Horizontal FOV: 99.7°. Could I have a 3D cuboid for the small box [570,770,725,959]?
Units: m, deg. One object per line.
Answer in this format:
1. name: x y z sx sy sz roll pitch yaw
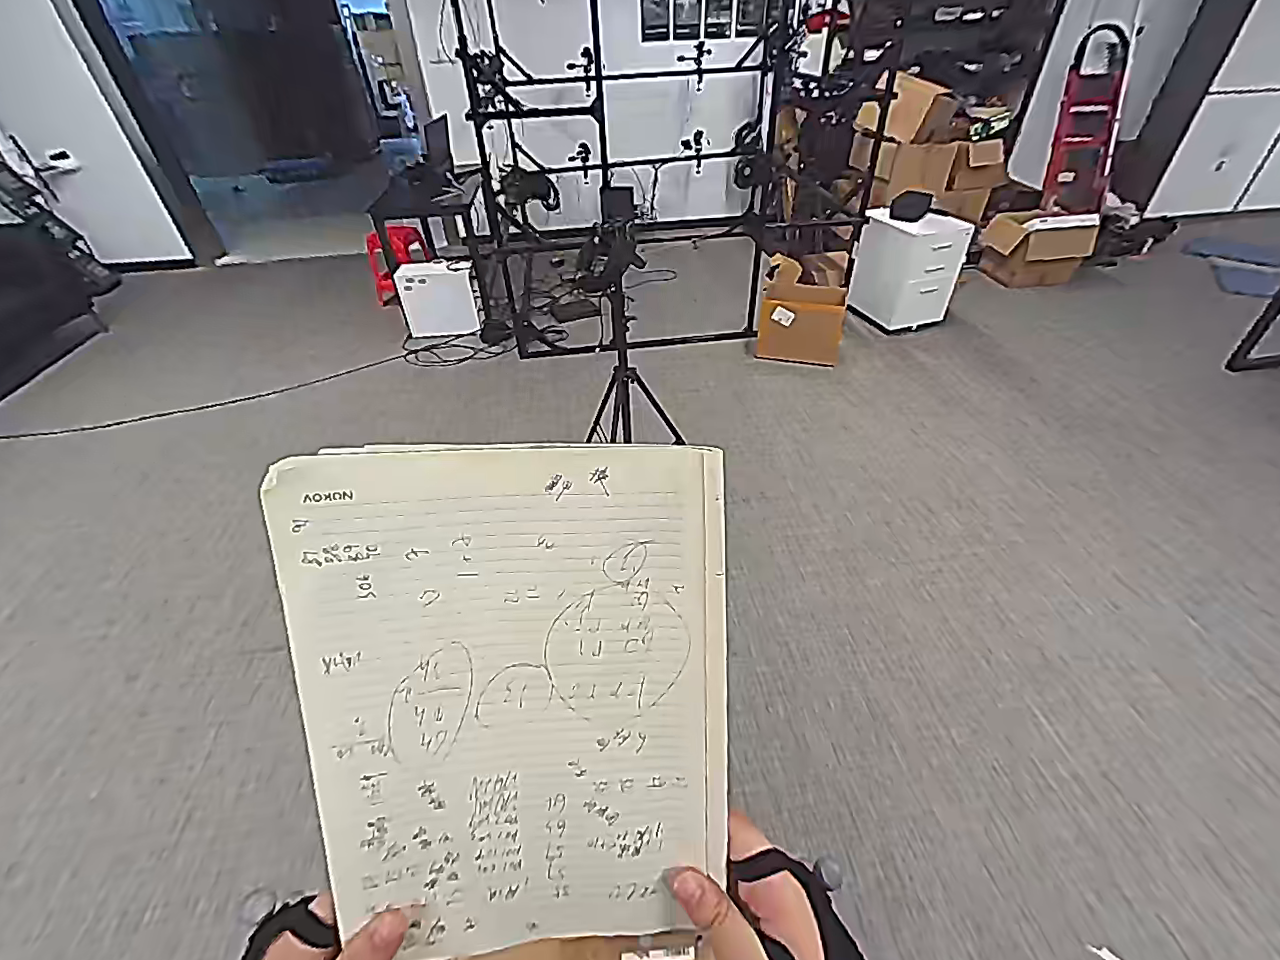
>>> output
1. small box: 0.005 0.486 0.674 0.168 0.176 0.179 0 42 -1
